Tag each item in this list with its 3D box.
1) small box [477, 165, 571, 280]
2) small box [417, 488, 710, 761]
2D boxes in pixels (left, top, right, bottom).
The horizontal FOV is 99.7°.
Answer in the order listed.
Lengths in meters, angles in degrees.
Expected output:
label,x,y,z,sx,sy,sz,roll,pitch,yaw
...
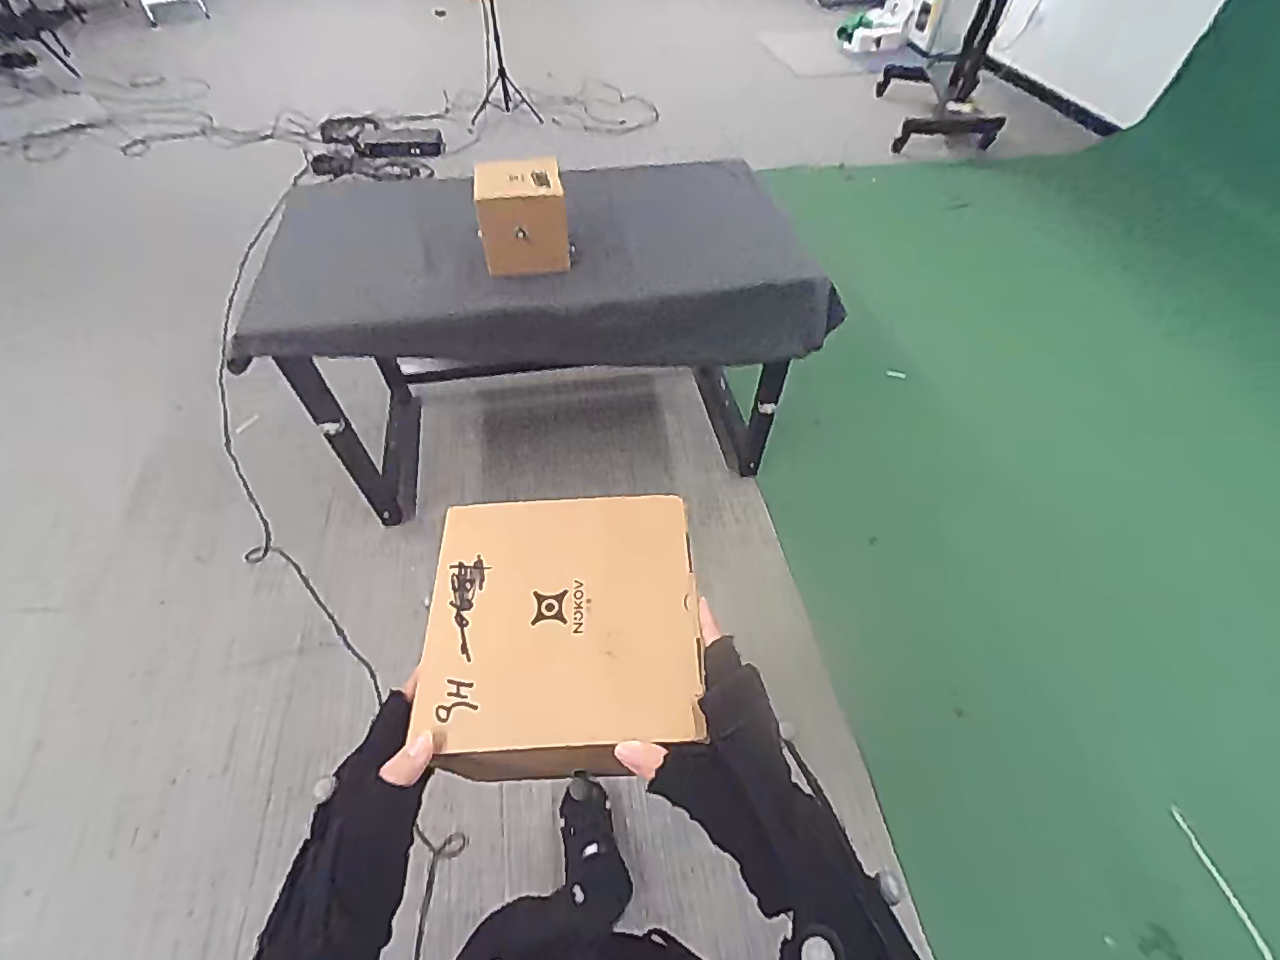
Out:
label,x,y,z,sx,sy,sz,roll,pitch,yaw
small box,-0.246,-0.555,1.169,0.179,0.176,0.168,-9,53,-10
small box,-0.049,0.120,0.430,0.179,0.176,0.168,-2,55,-2
